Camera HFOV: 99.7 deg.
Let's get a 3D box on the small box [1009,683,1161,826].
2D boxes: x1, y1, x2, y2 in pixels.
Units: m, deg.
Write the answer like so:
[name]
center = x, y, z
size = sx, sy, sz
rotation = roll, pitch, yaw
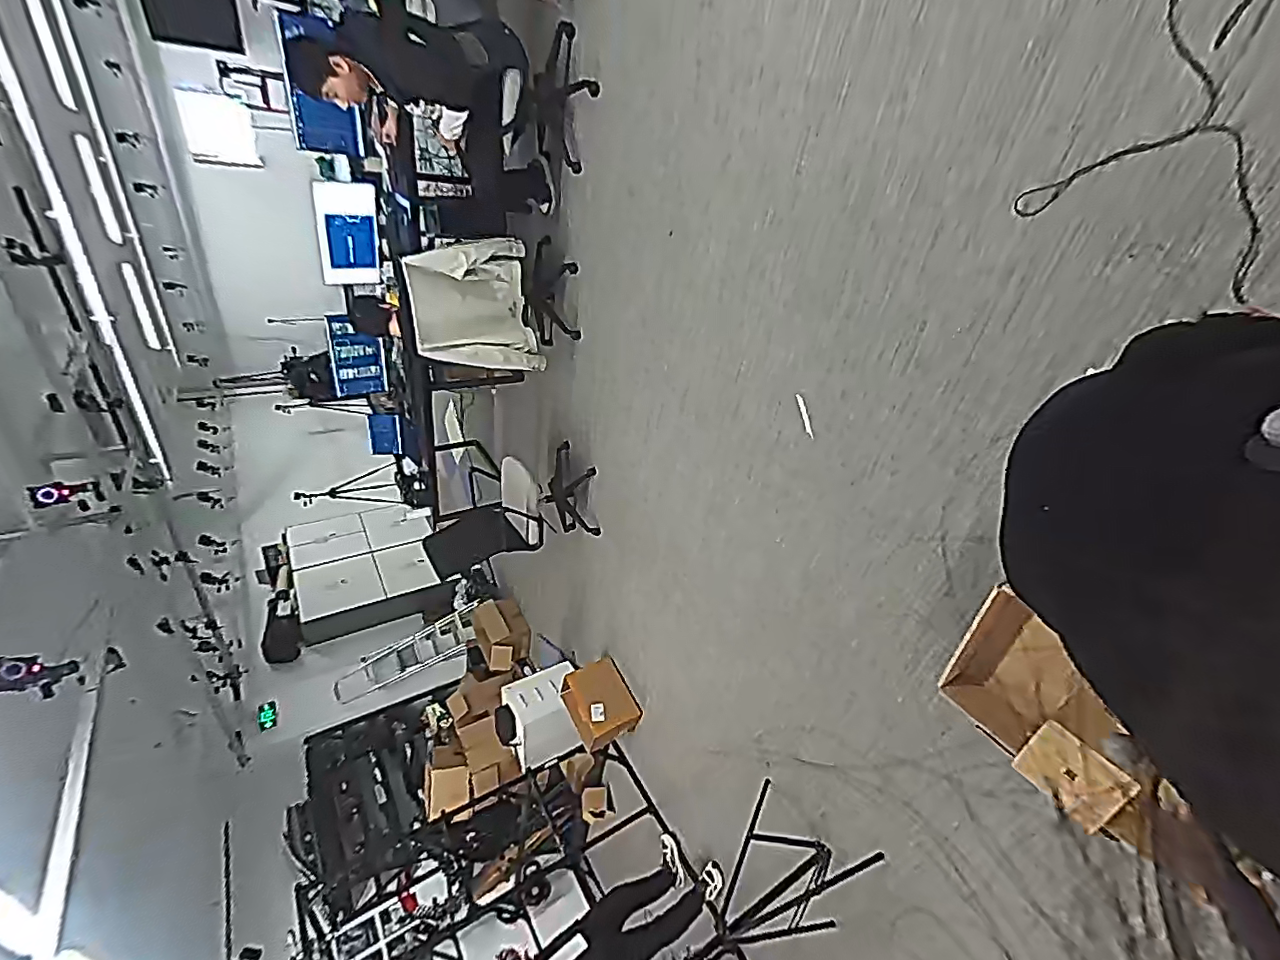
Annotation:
[small box]
center = 0.928, 0.566, 1.129
size = 0.168, 0.176, 0.179
rotation = 41, 134, 43
